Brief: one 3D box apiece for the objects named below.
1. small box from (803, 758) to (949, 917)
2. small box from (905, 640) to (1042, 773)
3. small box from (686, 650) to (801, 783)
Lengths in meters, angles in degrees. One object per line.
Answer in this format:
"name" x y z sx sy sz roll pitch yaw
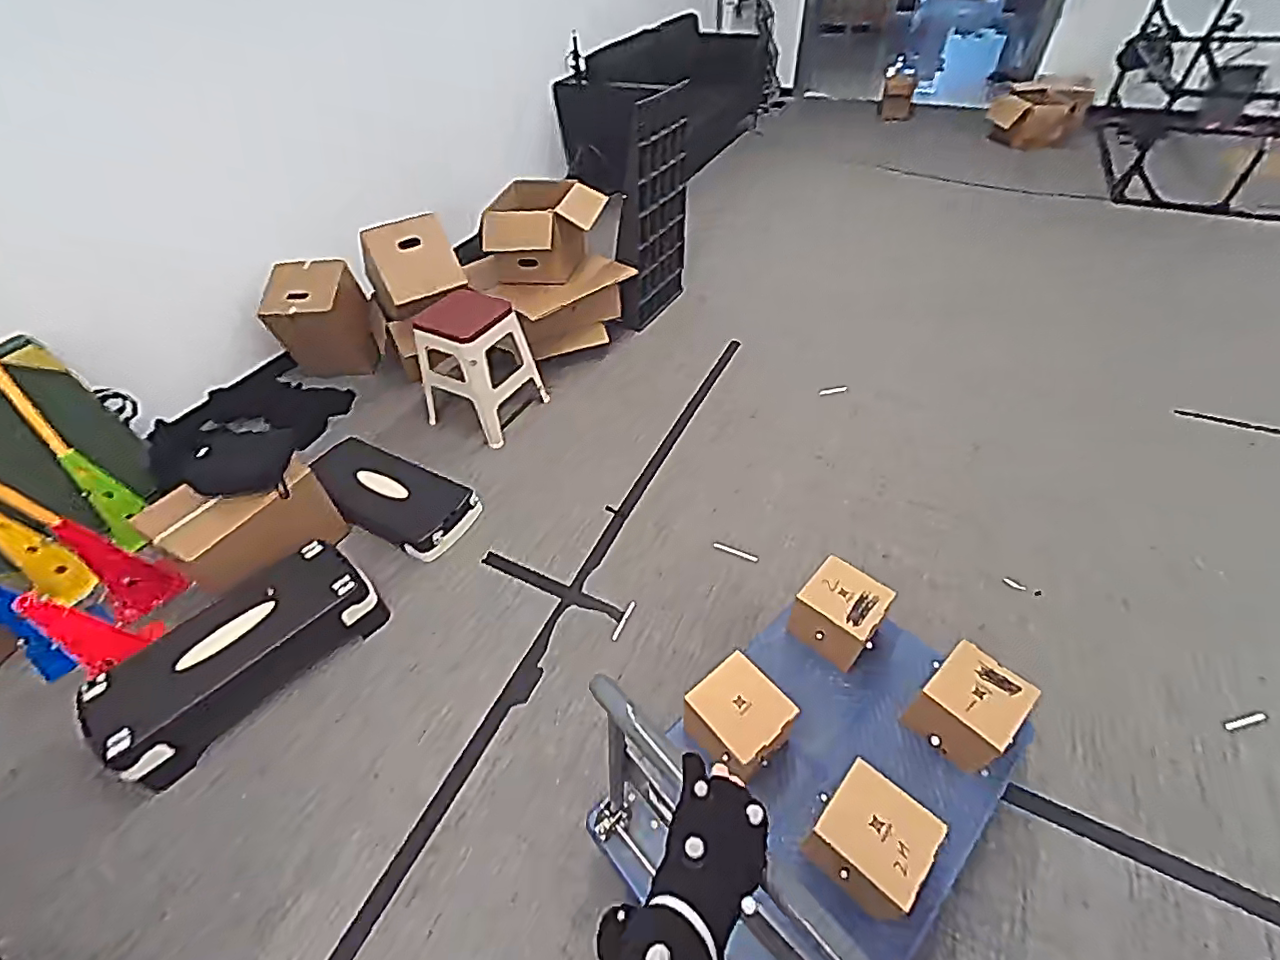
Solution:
"small box" 0.429 0.669 1.009 0.179 0.176 0.168 34 56 30
"small box" 0.708 0.490 1.167 0.179 0.176 0.168 -34 54 -25
"small box" 0.214 0.514 1.170 0.168 0.176 0.179 -32 54 -25
